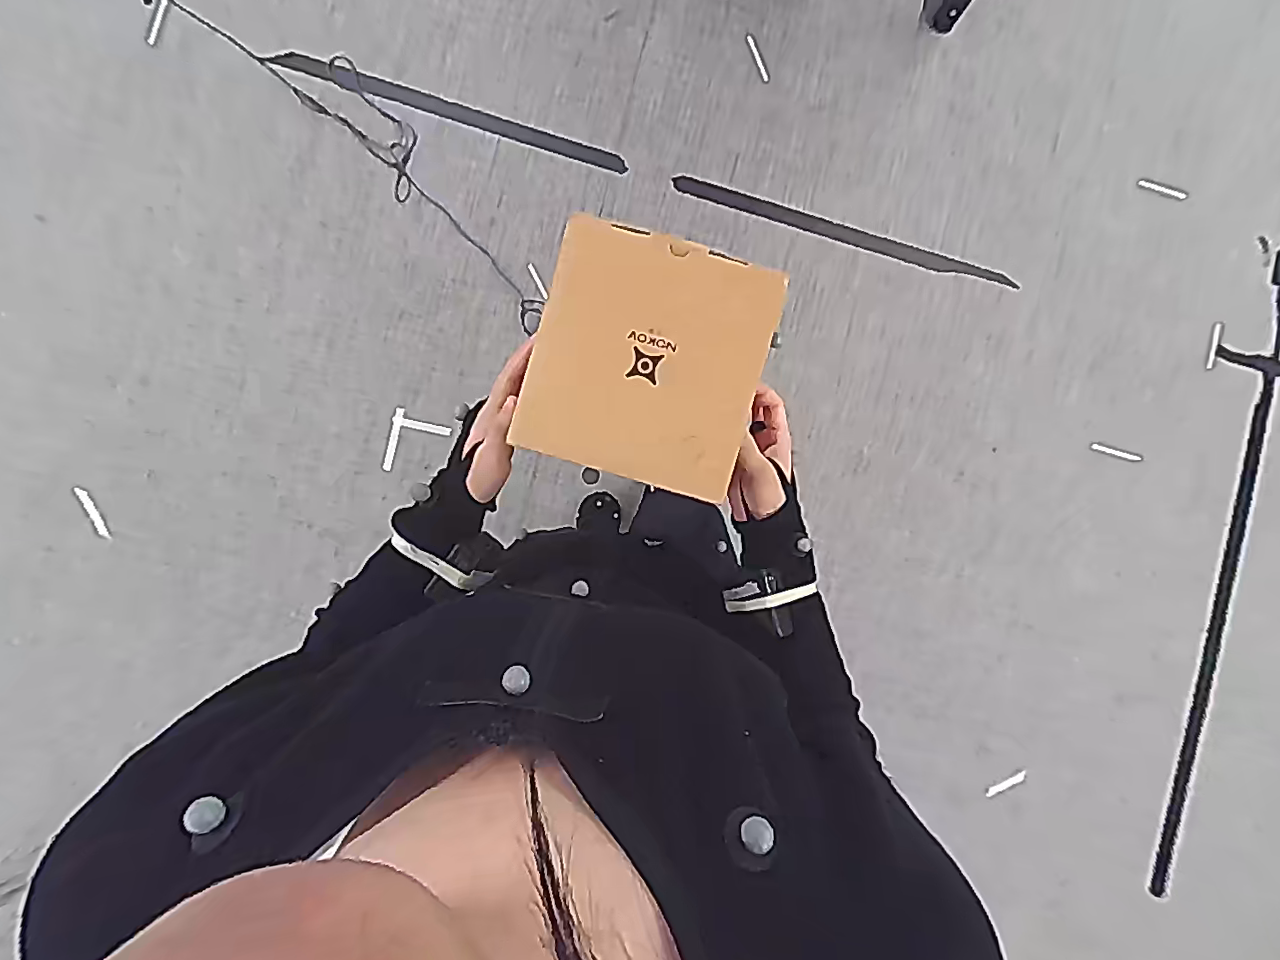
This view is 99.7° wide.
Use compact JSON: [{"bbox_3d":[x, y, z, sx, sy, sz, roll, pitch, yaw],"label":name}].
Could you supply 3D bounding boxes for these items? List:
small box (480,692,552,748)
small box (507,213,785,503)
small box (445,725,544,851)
[{"bbox_3d":[-0.331,0.677,1.387,0.168,0.176,0.179,18,87,-4],"label":"small box"},{"bbox_3d":[0.004,-0.088,0.468,0.168,0.176,0.179,15,90,-1],"label":"small box"},{"bbox_3d":[-0.319,0.684,1.223,0.168,0.176,0.179,14,89,-3],"label":"small box"}]
